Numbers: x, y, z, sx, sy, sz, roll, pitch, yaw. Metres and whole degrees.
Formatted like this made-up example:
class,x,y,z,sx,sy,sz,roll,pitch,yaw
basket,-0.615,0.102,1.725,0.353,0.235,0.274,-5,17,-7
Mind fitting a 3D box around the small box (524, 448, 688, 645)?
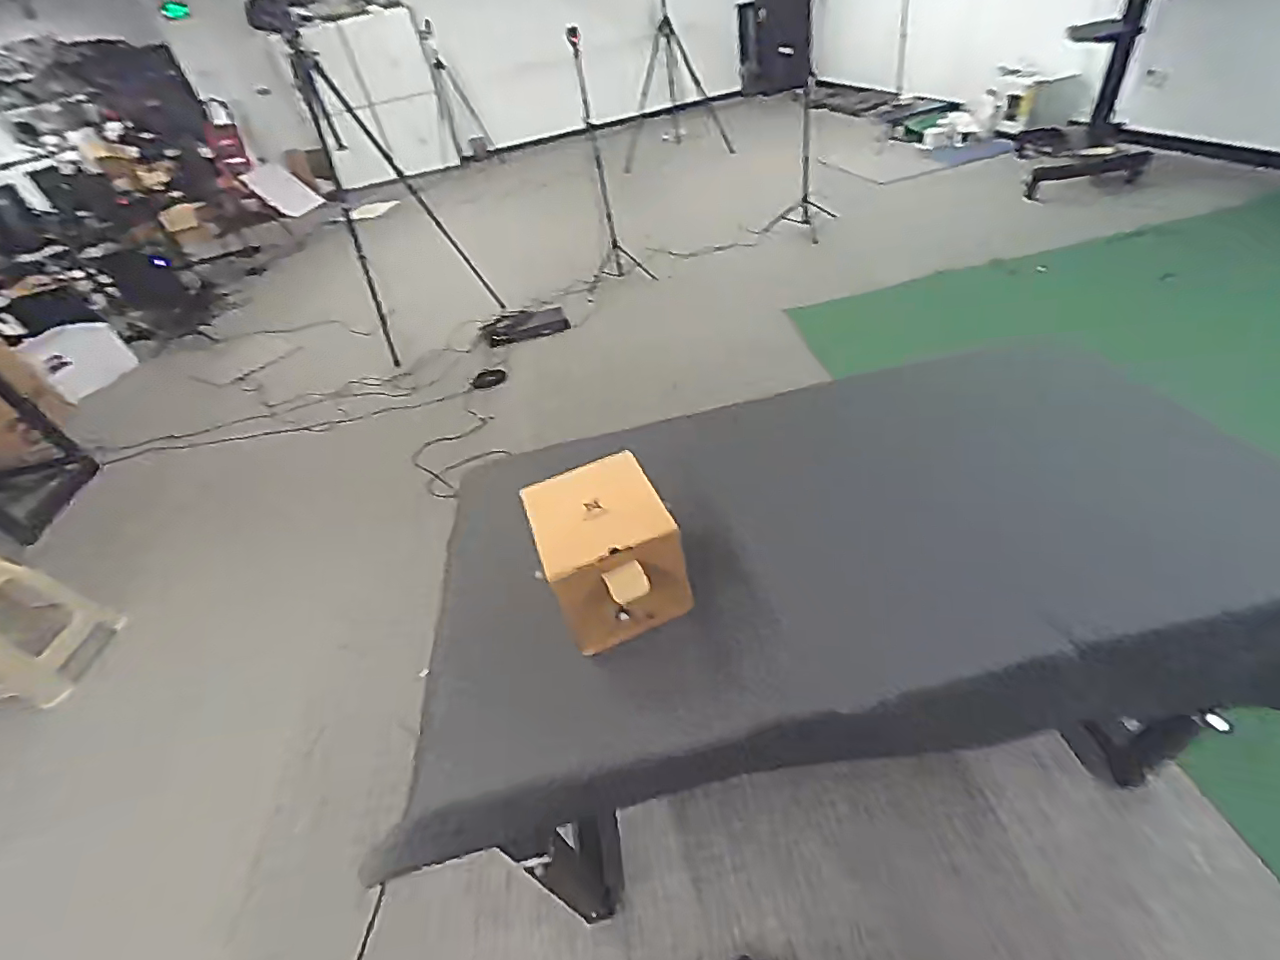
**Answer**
class,x,y,z,sx,sy,sz,roll,pitch,yaw
small box,-0.045,0.090,0.745,0.168,0.176,0.179,-21,42,-10
